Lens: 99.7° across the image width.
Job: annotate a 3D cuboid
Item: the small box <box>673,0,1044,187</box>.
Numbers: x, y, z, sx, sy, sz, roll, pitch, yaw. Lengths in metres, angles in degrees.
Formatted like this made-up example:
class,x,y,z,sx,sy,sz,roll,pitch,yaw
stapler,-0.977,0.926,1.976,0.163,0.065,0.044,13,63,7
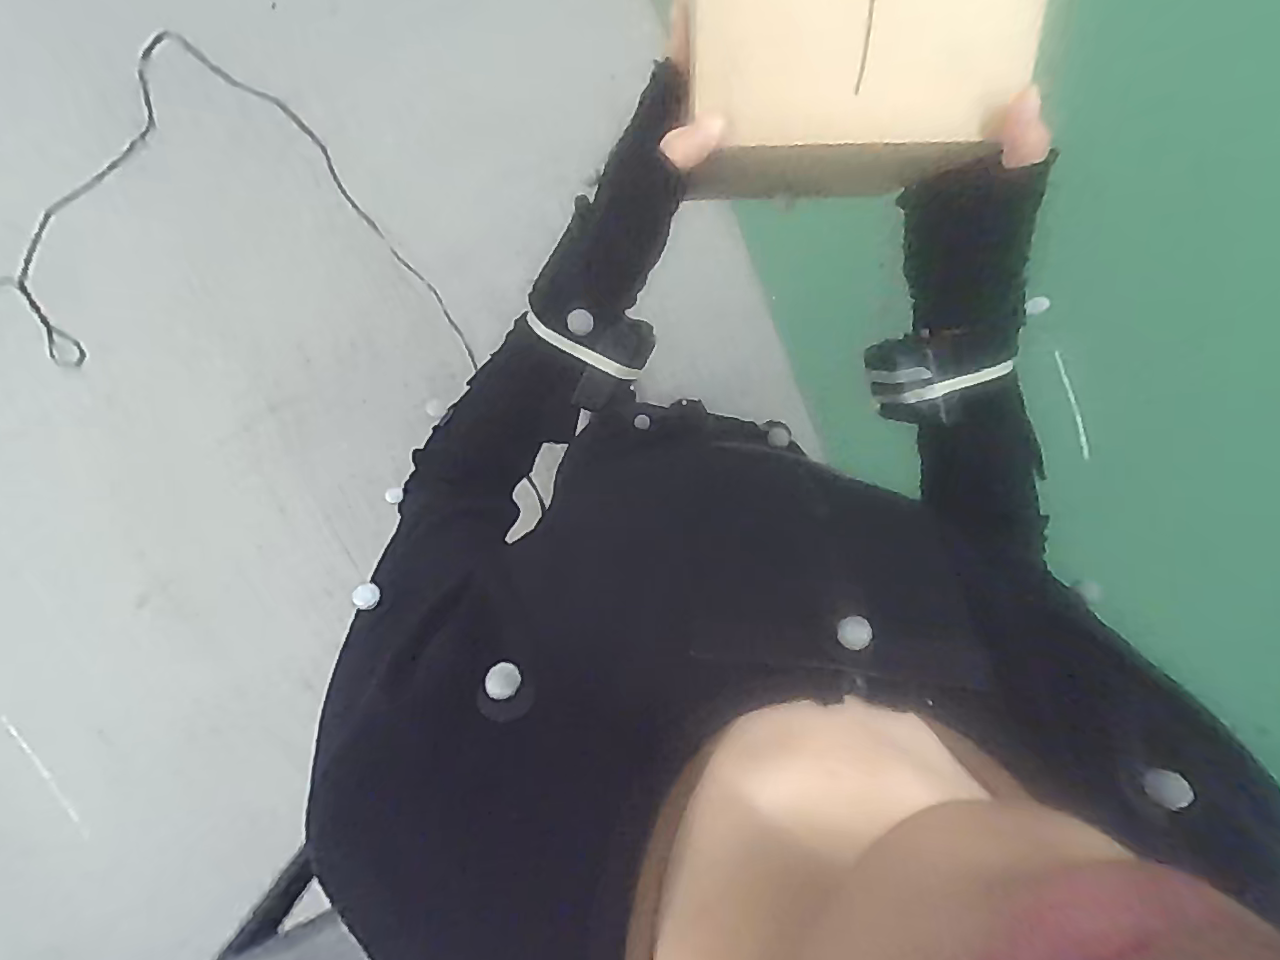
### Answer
class,x,y,z,sx,sy,sz,roll,pitch,yaw
small box,0.106,-0.287,0.317,0.168,0.176,0.179,-1,109,1
